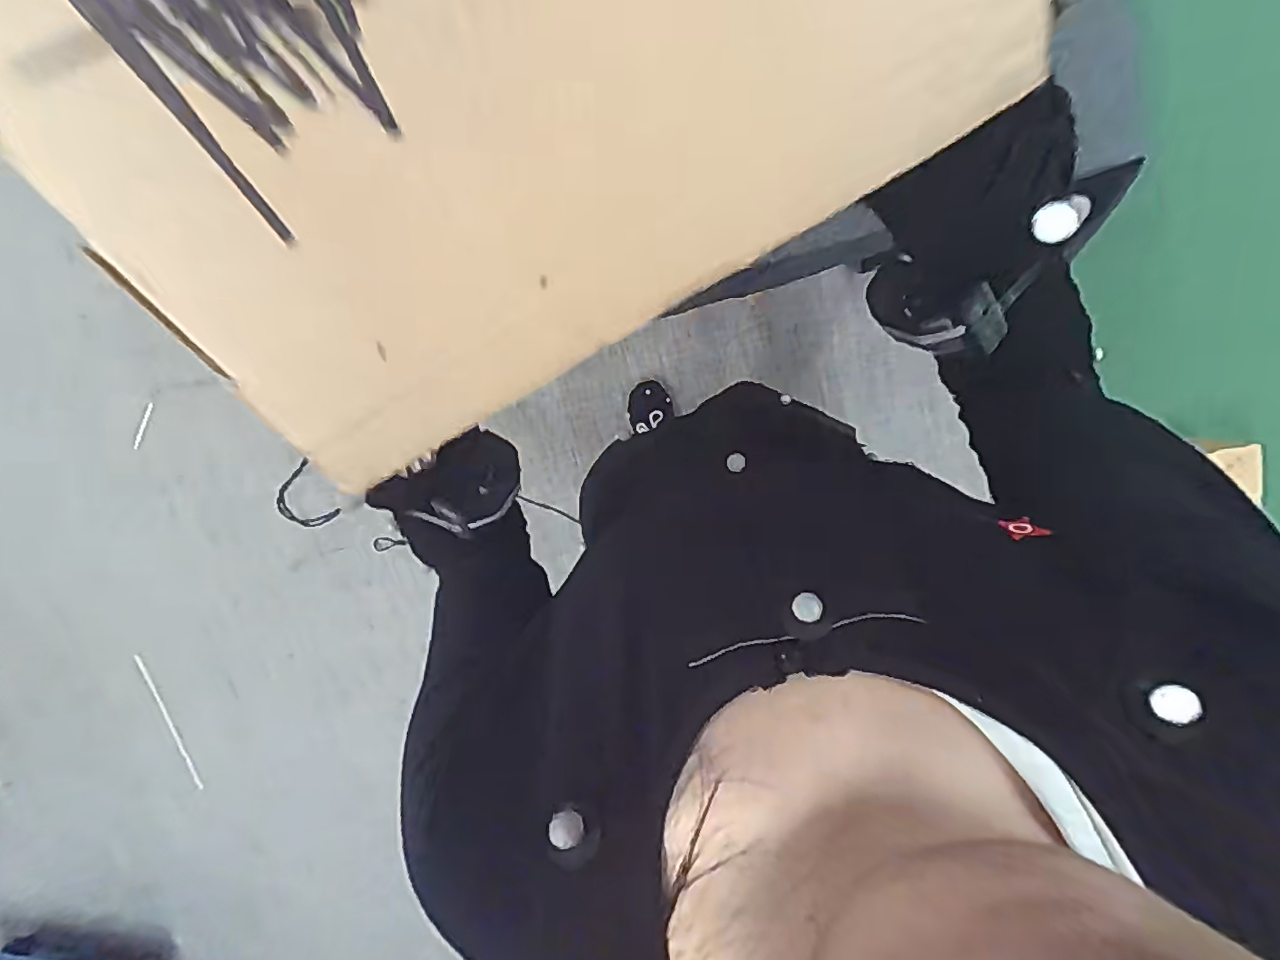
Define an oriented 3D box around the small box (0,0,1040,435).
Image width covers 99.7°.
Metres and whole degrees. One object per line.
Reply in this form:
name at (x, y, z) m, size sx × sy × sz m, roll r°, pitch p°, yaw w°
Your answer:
small box at (-0.046, -0.147, 0.138) m, size 0.179 × 0.176 × 0.168 m, roll -29°, pitch 124°, yaw 3°
